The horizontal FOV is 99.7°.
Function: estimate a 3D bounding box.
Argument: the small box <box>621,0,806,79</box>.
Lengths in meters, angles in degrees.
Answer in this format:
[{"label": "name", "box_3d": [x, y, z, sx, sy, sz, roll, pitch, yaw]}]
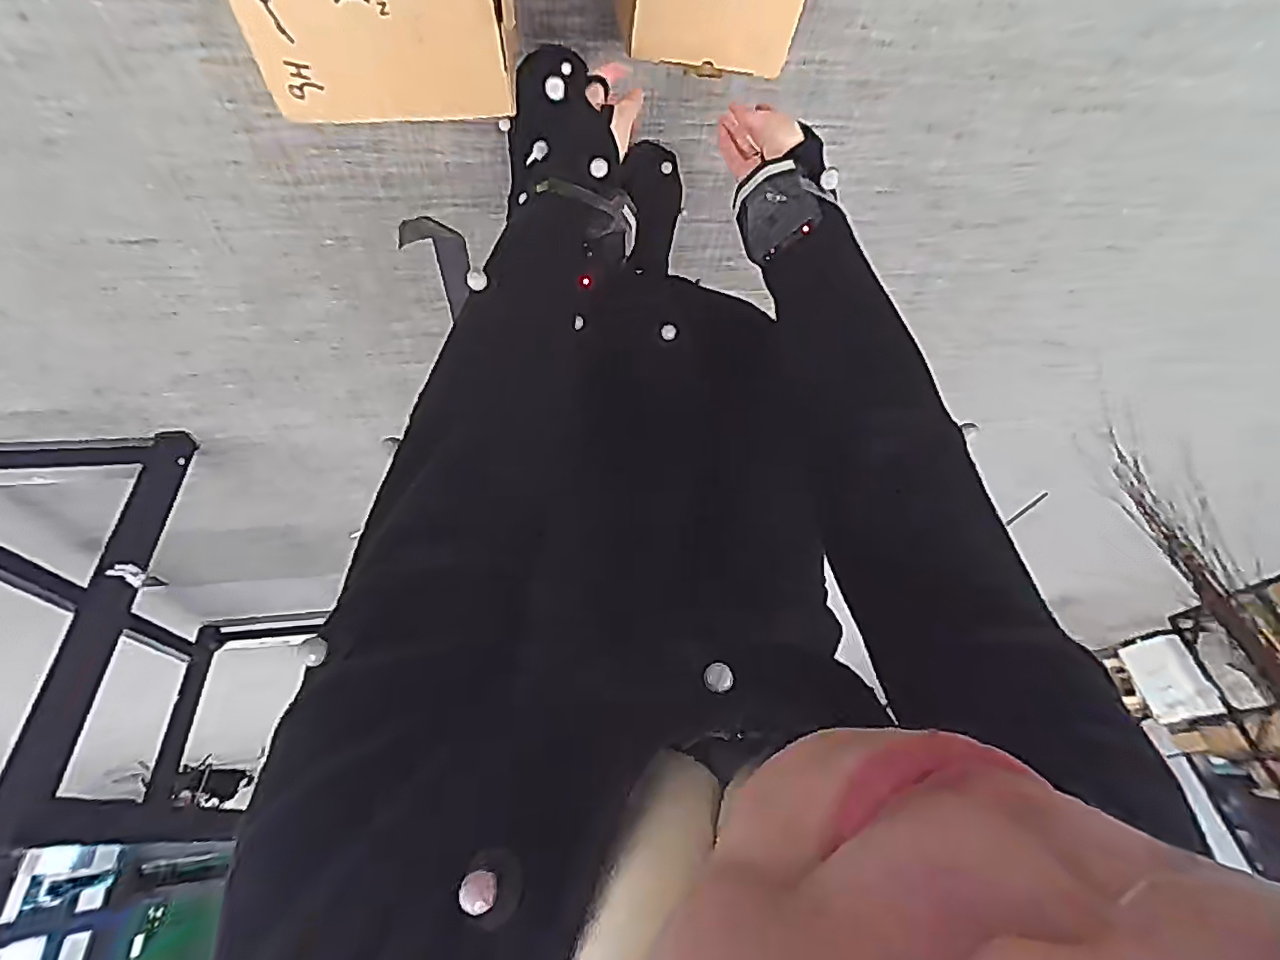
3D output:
[{"label": "small box", "box_3d": [0.074, -0.539, 0.529, 0.168, 0.176, 0.179, -1, 146, -13]}]

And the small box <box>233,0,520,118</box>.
[{"label": "small box", "box_3d": [-0.188, -0.390, 0.389, 0.179, 0.176, 0.168, -6, 147, -6]}]
